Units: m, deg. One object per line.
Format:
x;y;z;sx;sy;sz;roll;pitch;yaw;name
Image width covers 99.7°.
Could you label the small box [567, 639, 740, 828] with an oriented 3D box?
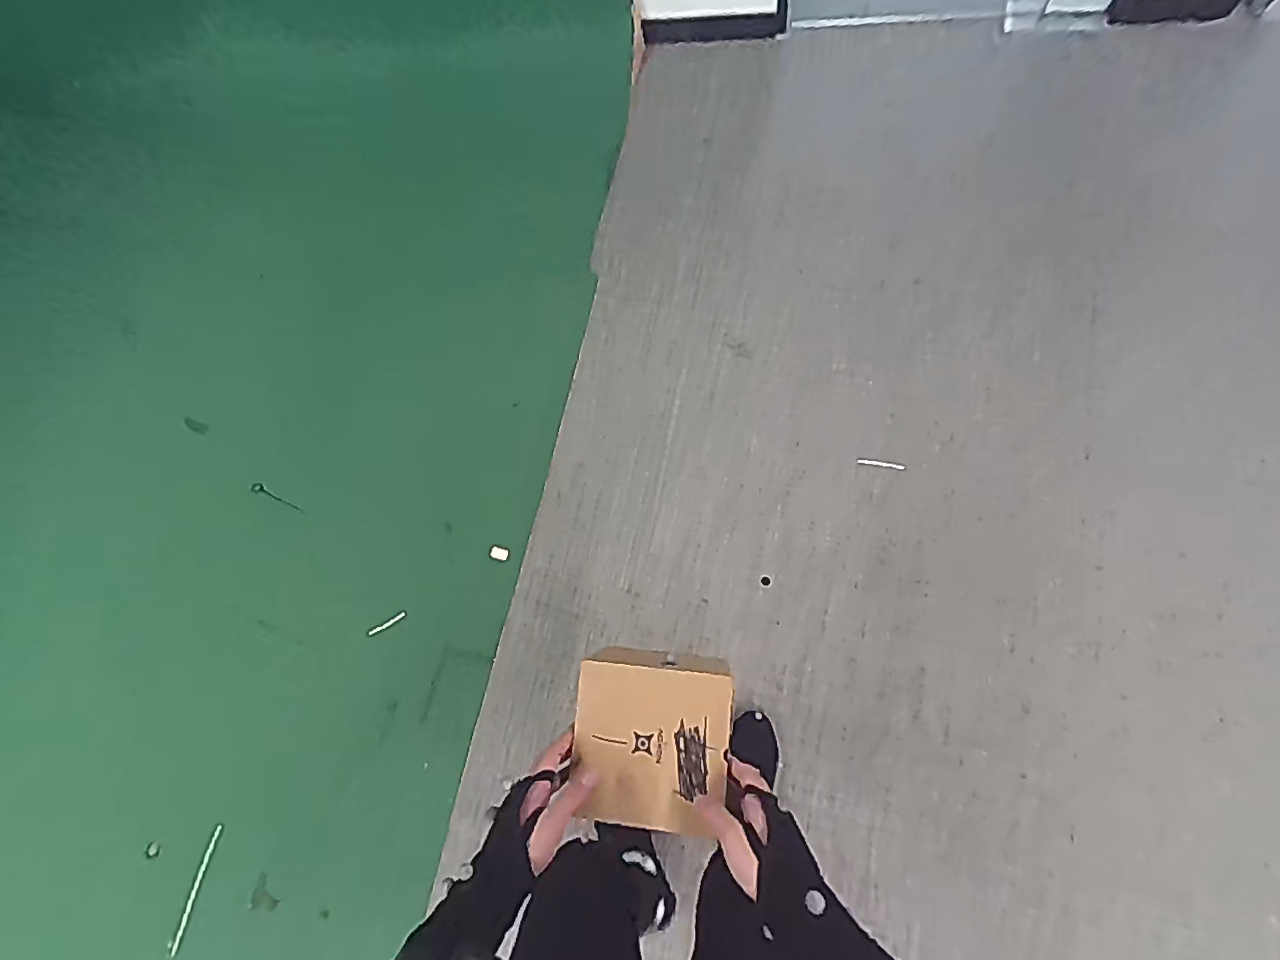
0.023;0.292;0.663;0.179;0.176;0.168;5;78;7;small box
